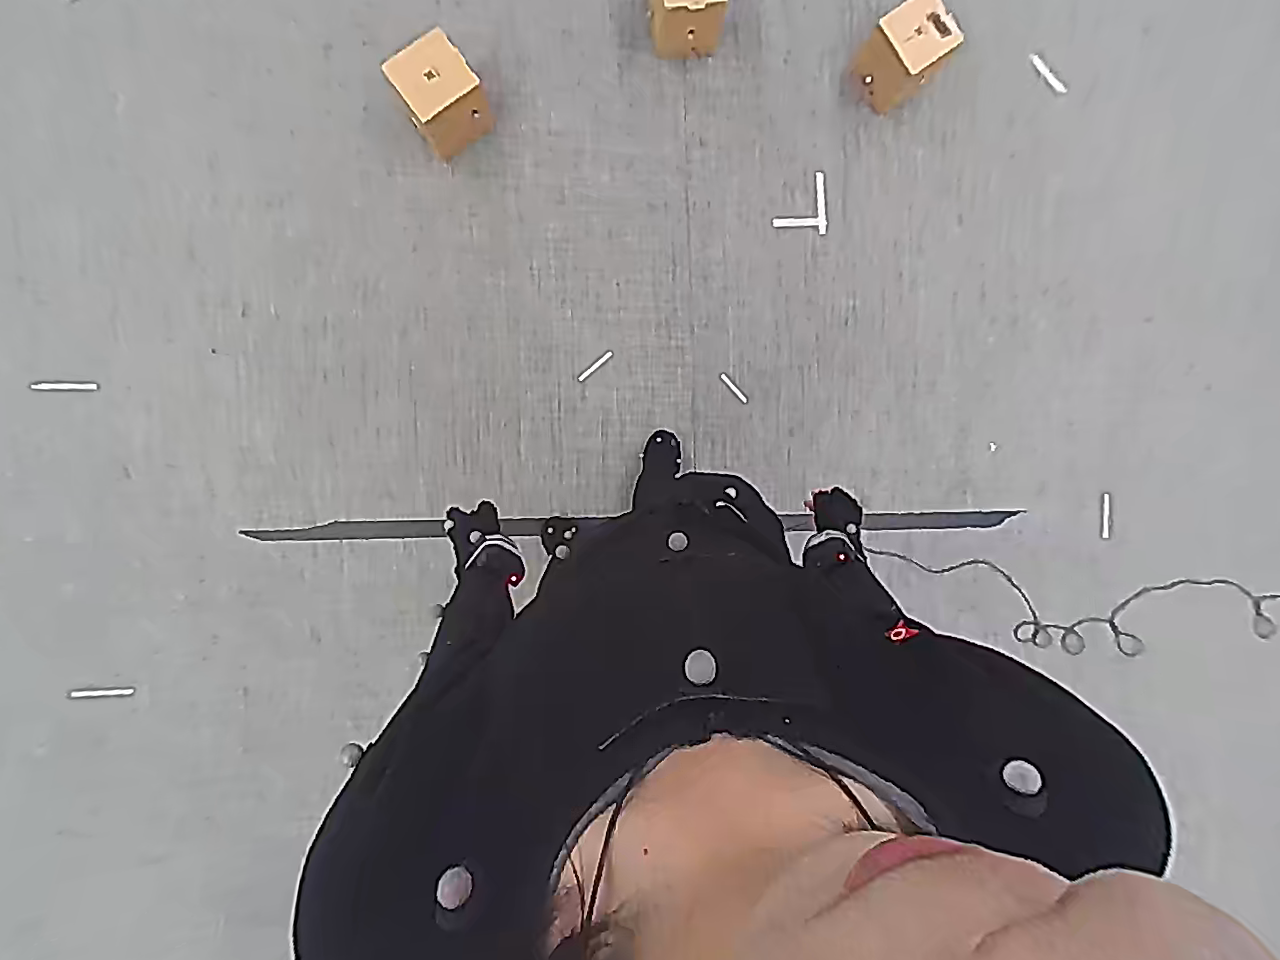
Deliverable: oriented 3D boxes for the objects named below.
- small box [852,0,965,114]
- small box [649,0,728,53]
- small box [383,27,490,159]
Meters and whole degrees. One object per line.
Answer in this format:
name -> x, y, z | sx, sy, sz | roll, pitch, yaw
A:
small box -> 0.716, -1.151, 1.461 | 0.179, 0.176, 0.168 | -35, 94, -2
small box -> 0.121, -1.254, 1.405 | 0.168, 0.176, 0.179 | -9, 94, -5
small box -> -0.500, -0.964, 1.363 | 0.179, 0.176, 0.168 | -38, 93, -2
